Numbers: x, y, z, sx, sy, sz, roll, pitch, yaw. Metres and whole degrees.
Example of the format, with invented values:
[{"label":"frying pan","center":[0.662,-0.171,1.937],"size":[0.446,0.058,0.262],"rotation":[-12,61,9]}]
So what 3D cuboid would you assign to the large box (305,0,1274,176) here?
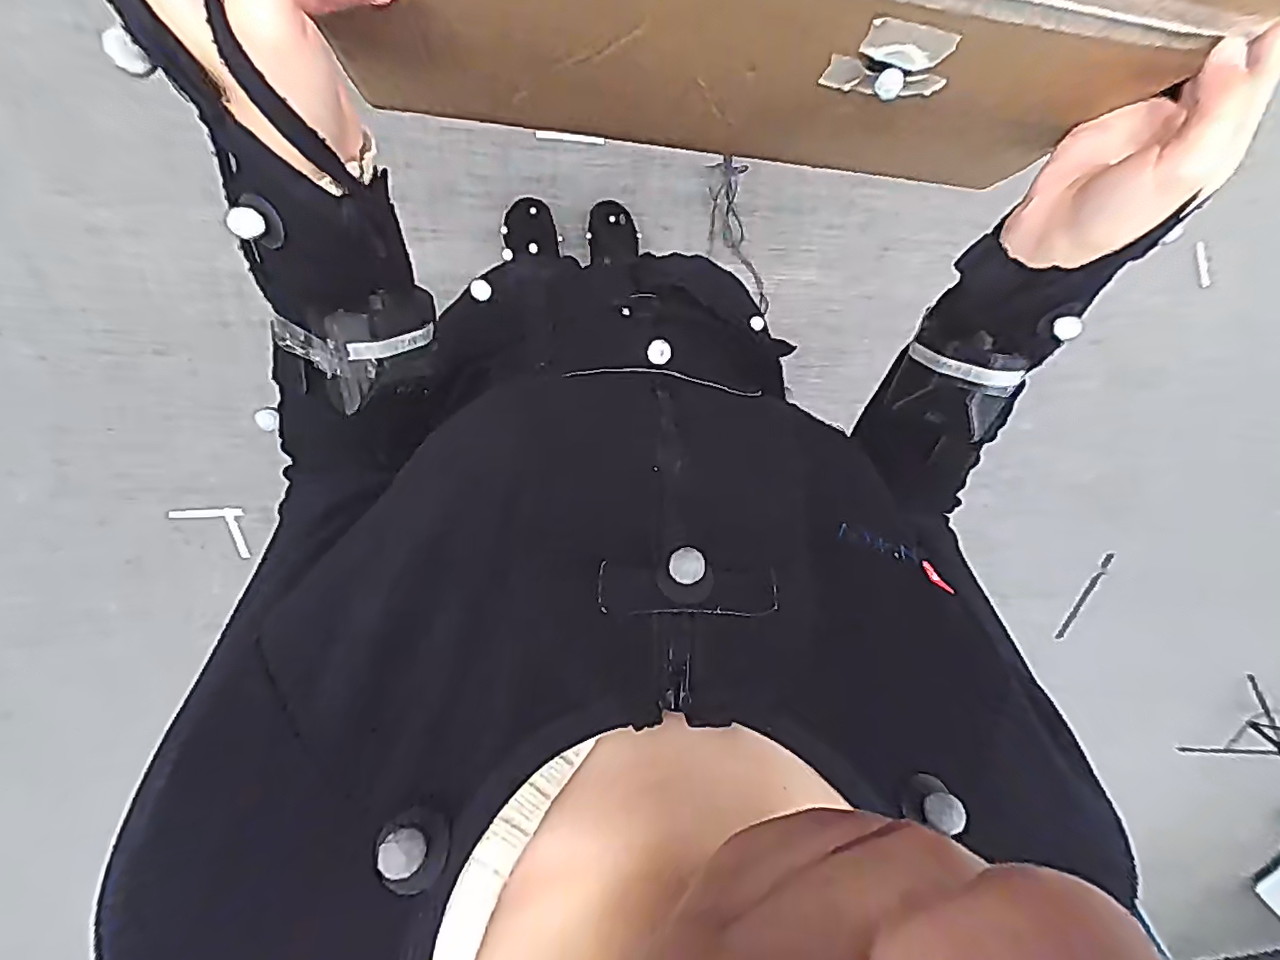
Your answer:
[{"label":"large box","center":[0.059,-0.351,0.189],"size":[0.408,0.320,0.320],"rotation":[2,97,-7]}]
